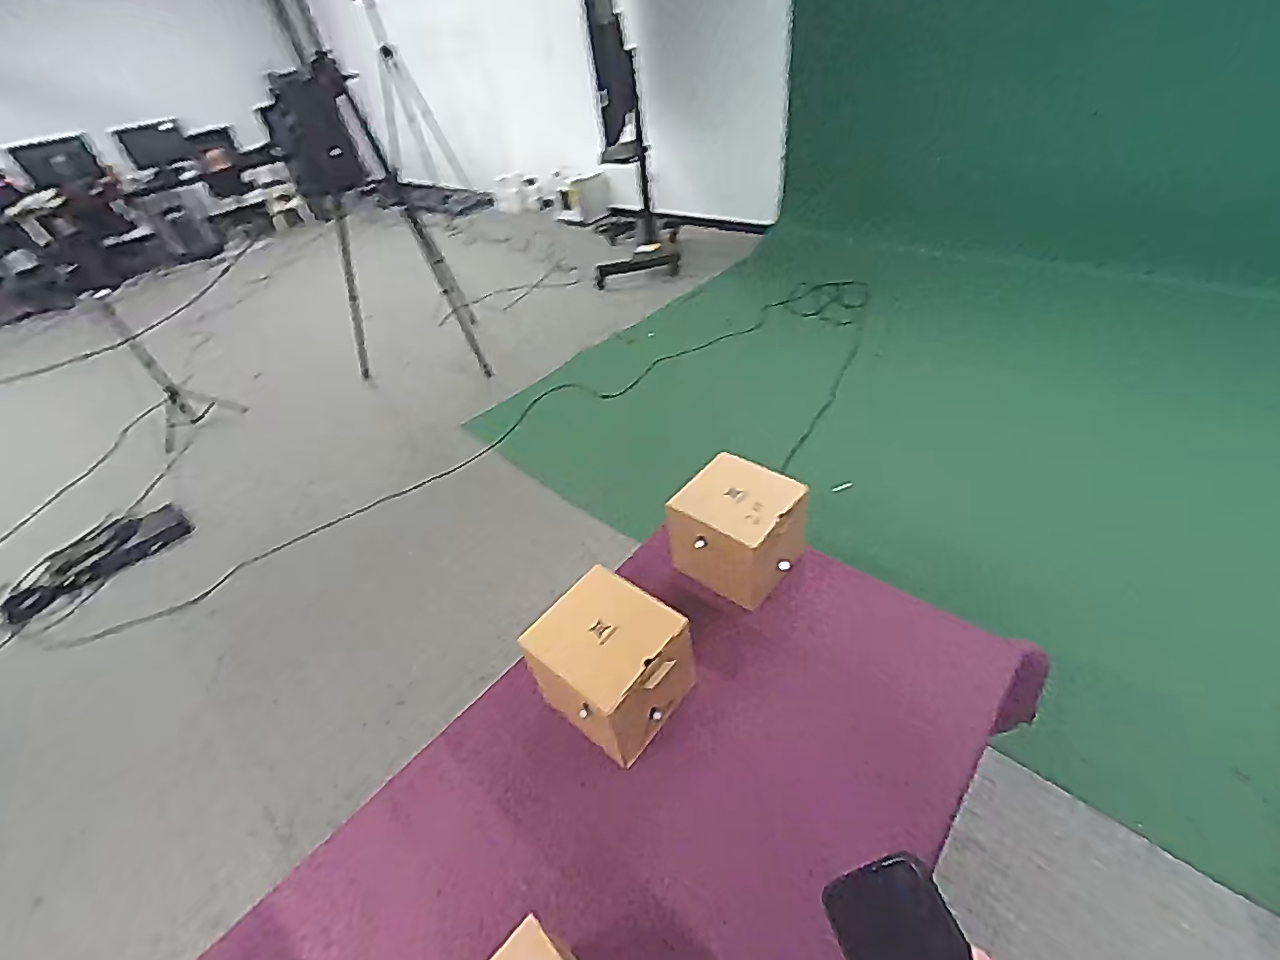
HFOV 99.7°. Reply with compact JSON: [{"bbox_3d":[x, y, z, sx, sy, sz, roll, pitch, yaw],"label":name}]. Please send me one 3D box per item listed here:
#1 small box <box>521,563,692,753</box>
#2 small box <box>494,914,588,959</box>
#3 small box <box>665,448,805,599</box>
[{"bbox_3d":[-0.041,0.261,0.793,0.179,0.176,0.168,25,52,32],"label":"small box"},{"bbox_3d":[-0.083,0.547,0.481,0.179,0.176,0.168,29,54,37],"label":"small box"},{"bbox_3d":[0.167,0.077,0.949,0.179,0.176,0.168,27,54,34],"label":"small box"}]
